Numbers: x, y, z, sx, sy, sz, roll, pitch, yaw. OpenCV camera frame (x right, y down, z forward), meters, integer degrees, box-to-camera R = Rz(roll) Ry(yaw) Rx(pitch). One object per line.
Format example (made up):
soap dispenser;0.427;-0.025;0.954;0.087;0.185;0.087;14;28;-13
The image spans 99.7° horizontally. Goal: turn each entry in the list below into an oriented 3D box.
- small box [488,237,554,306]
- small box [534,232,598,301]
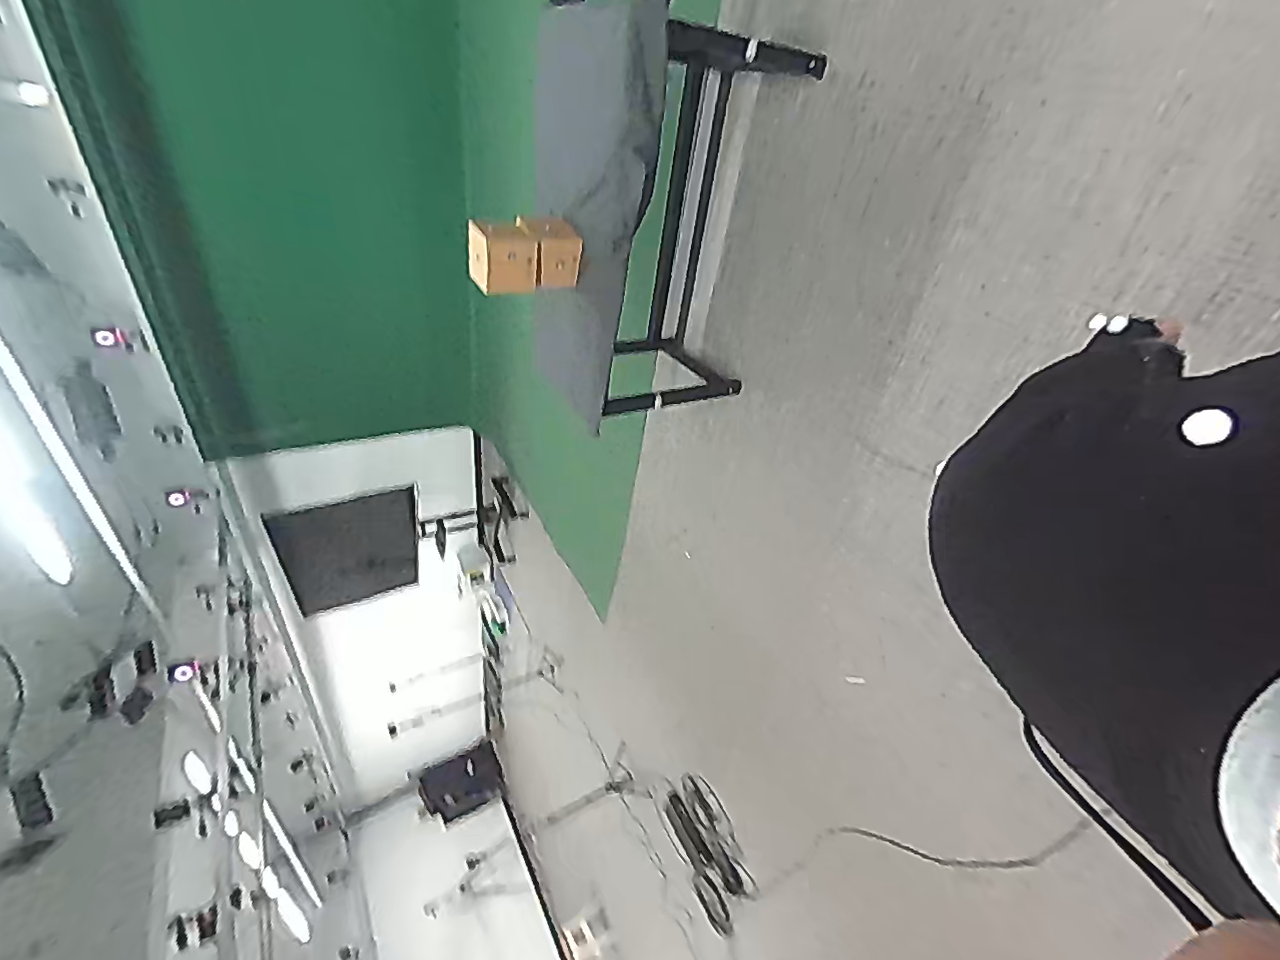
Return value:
small box;-0.392;-0.686;1.777;0.179;0.176;0.168;52;141;40
small box;-0.261;-0.737;1.864;0.179;0.176;0.168;56;144;34
